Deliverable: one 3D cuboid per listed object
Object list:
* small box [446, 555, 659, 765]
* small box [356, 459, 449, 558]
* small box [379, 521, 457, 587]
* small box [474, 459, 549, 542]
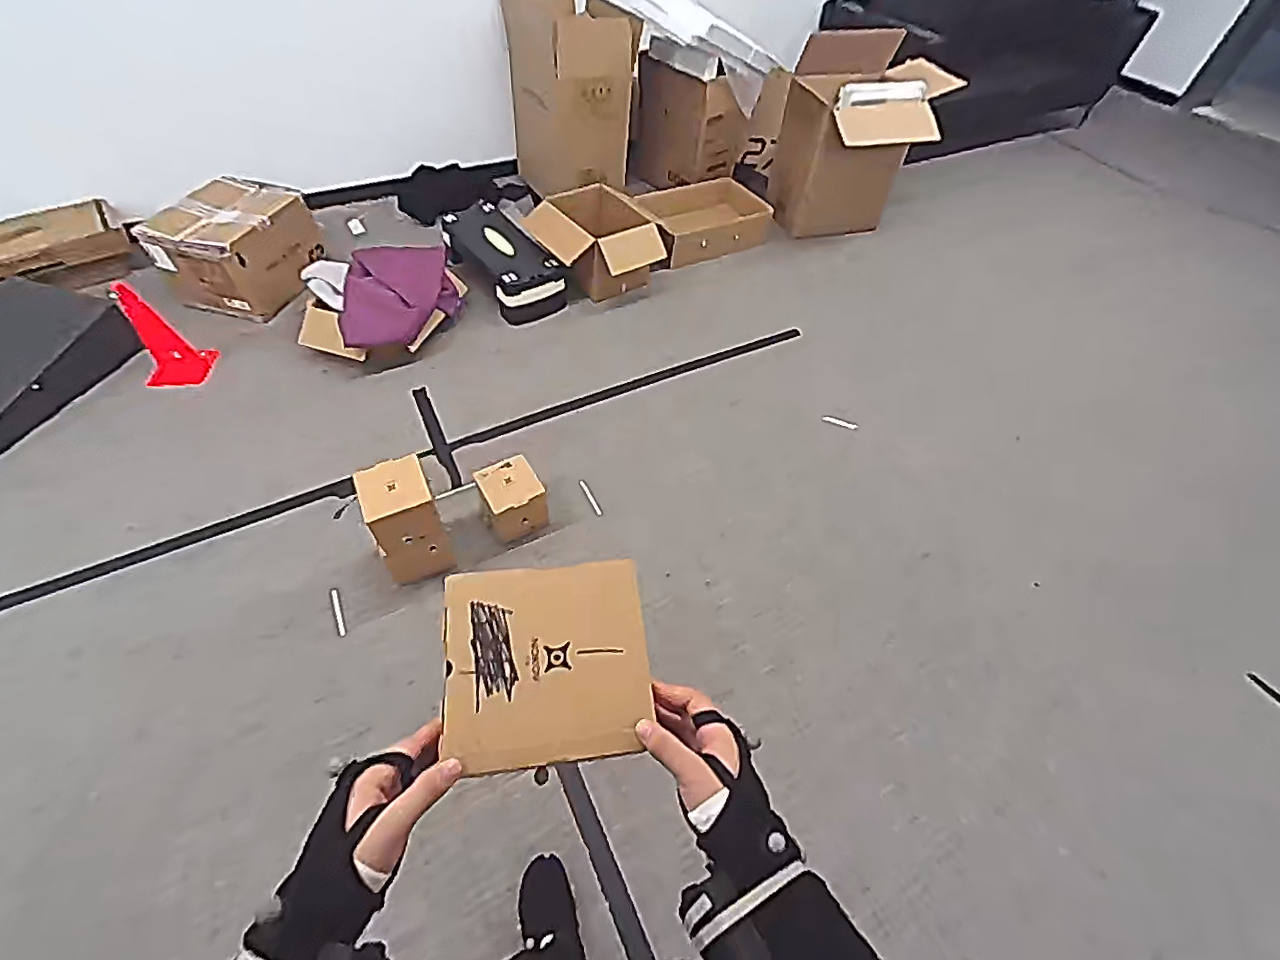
[{"bbox_3d":[-0.085,0.187,0.547,0.179,0.176,0.168,-4,63,-9],"label":"small box"},{"bbox_3d":[-0.636,0.079,1.458,0.168,0.176,0.179,-22,58,-18],"label":"small box"},{"bbox_3d":[-0.649,0.184,1.581,0.179,0.176,0.168,-21,56,-18],"label":"small box"},{"bbox_3d":[-0.395,0.072,1.688,0.168,0.176,0.179,-25,58,-21],"label":"small box"}]
